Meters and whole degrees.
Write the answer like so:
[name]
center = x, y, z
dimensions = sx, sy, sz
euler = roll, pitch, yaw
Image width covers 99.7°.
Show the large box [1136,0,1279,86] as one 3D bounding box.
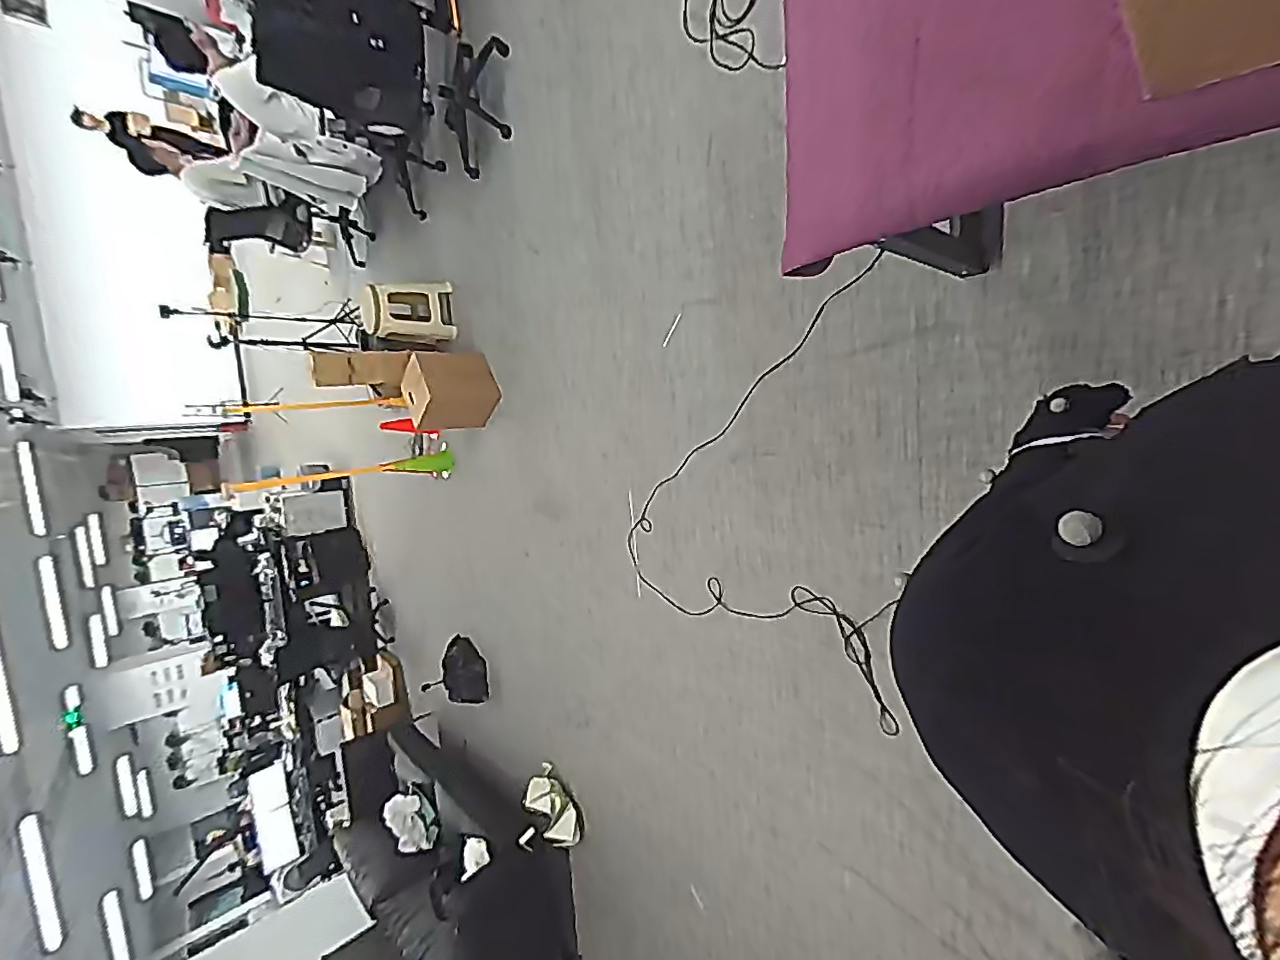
[large box]
center = 0.512, -0.559, 0.312
dimensions = 0.320, 0.320, 0.408
euler = 8, 103, 47
